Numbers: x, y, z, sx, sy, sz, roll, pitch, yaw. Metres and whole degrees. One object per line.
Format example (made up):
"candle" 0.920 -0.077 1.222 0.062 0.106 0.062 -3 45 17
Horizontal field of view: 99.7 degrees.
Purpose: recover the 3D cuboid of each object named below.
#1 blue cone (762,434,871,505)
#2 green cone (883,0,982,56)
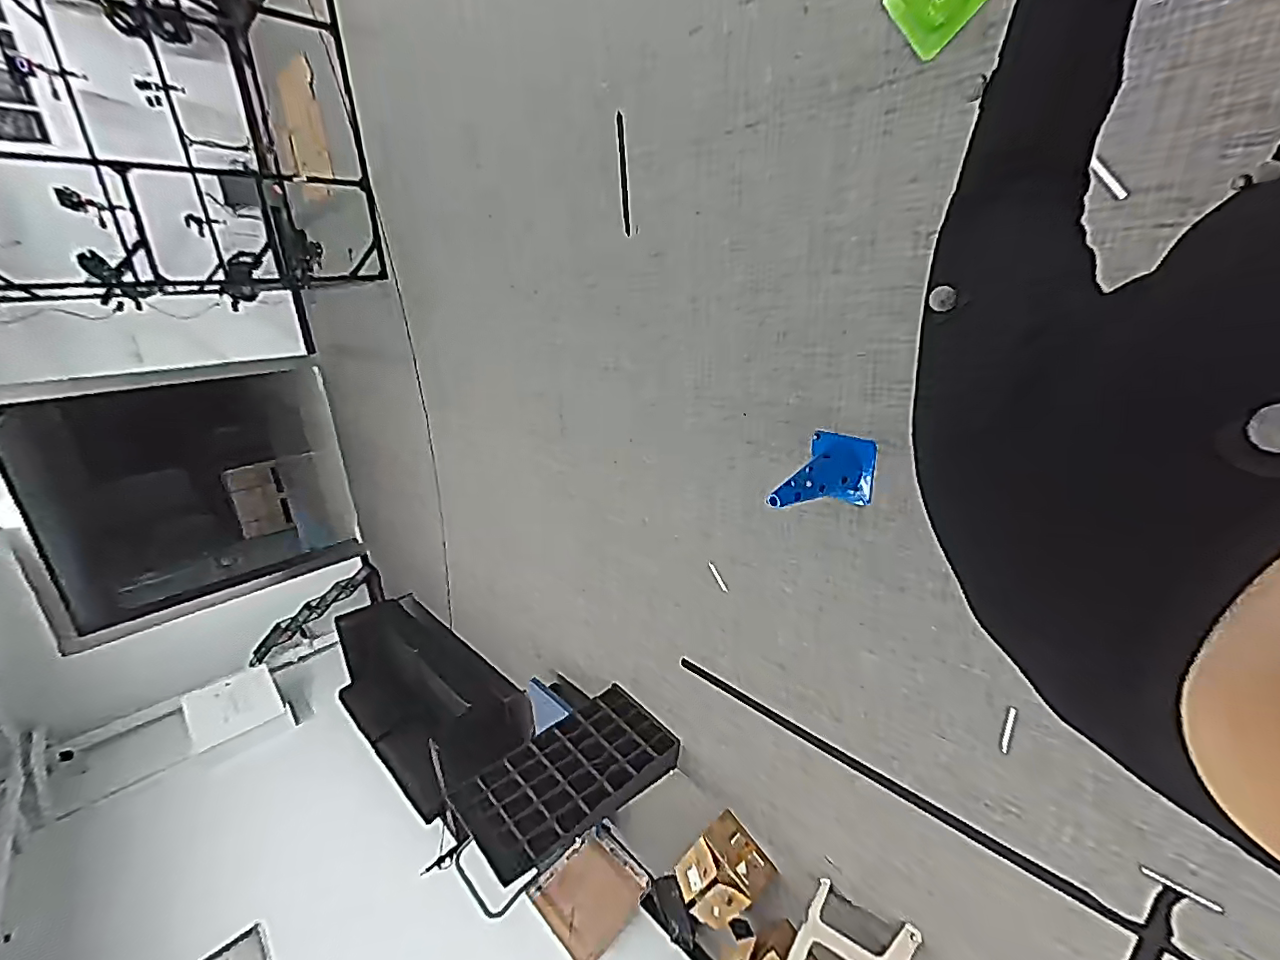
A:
"blue cone" 0.480 0.004 1.535 0.192 0.380 0.193 22 121 44
"green cone" 0.515 -1.013 1.040 0.202 0.368 0.200 -39 75 51
